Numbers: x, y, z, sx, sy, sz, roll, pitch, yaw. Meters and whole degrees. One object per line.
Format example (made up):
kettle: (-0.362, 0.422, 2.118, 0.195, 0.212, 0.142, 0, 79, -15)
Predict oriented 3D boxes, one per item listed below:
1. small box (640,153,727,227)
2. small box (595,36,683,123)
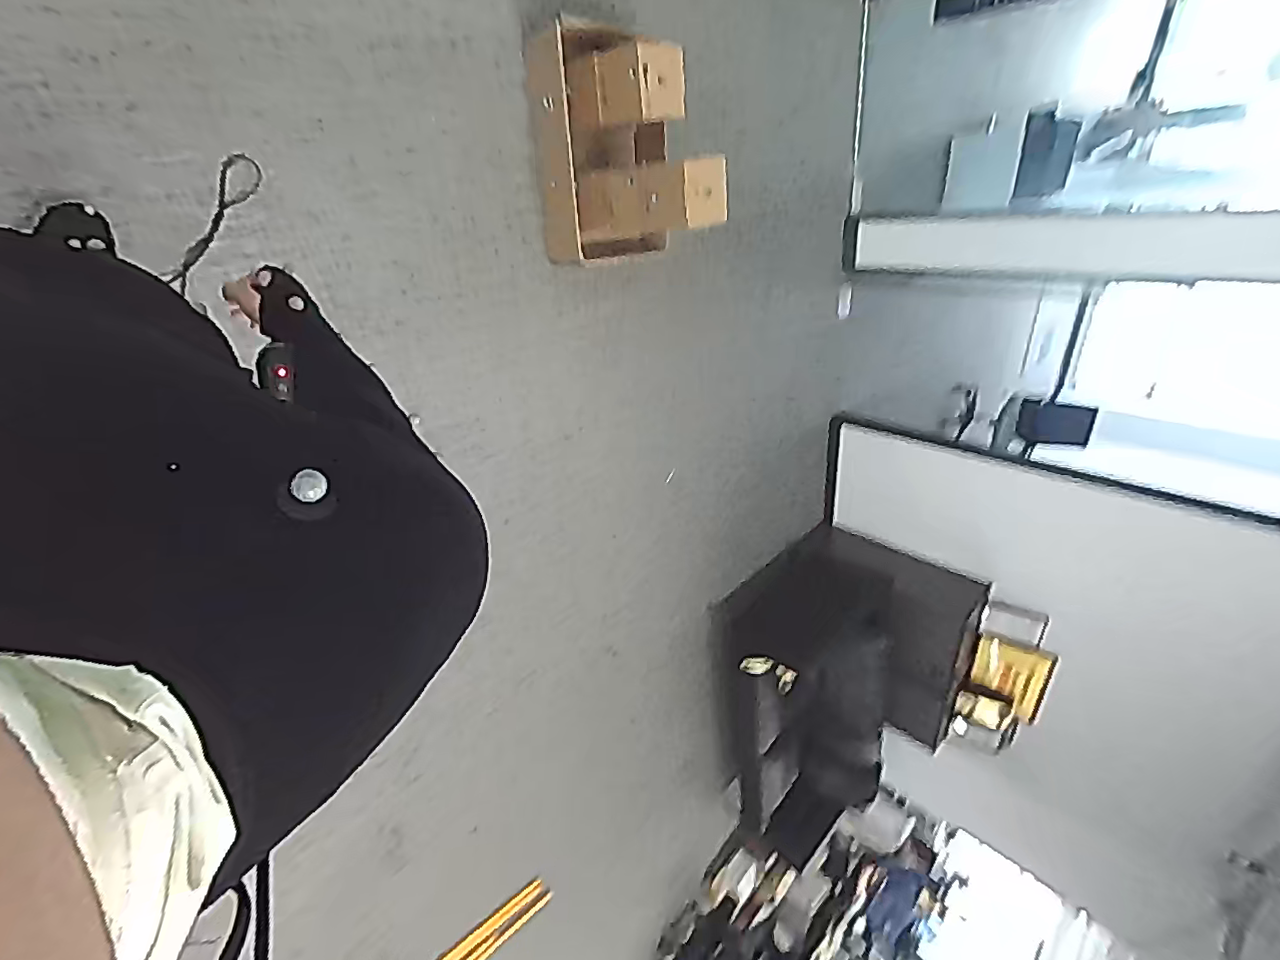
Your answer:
small box: (0.124, -0.812, 1.516, 0.179, 0.176, 0.168, -29, 125, -35)
small box: (0.000, -1.107, 1.507, 0.179, 0.176, 0.168, -29, 125, -37)
